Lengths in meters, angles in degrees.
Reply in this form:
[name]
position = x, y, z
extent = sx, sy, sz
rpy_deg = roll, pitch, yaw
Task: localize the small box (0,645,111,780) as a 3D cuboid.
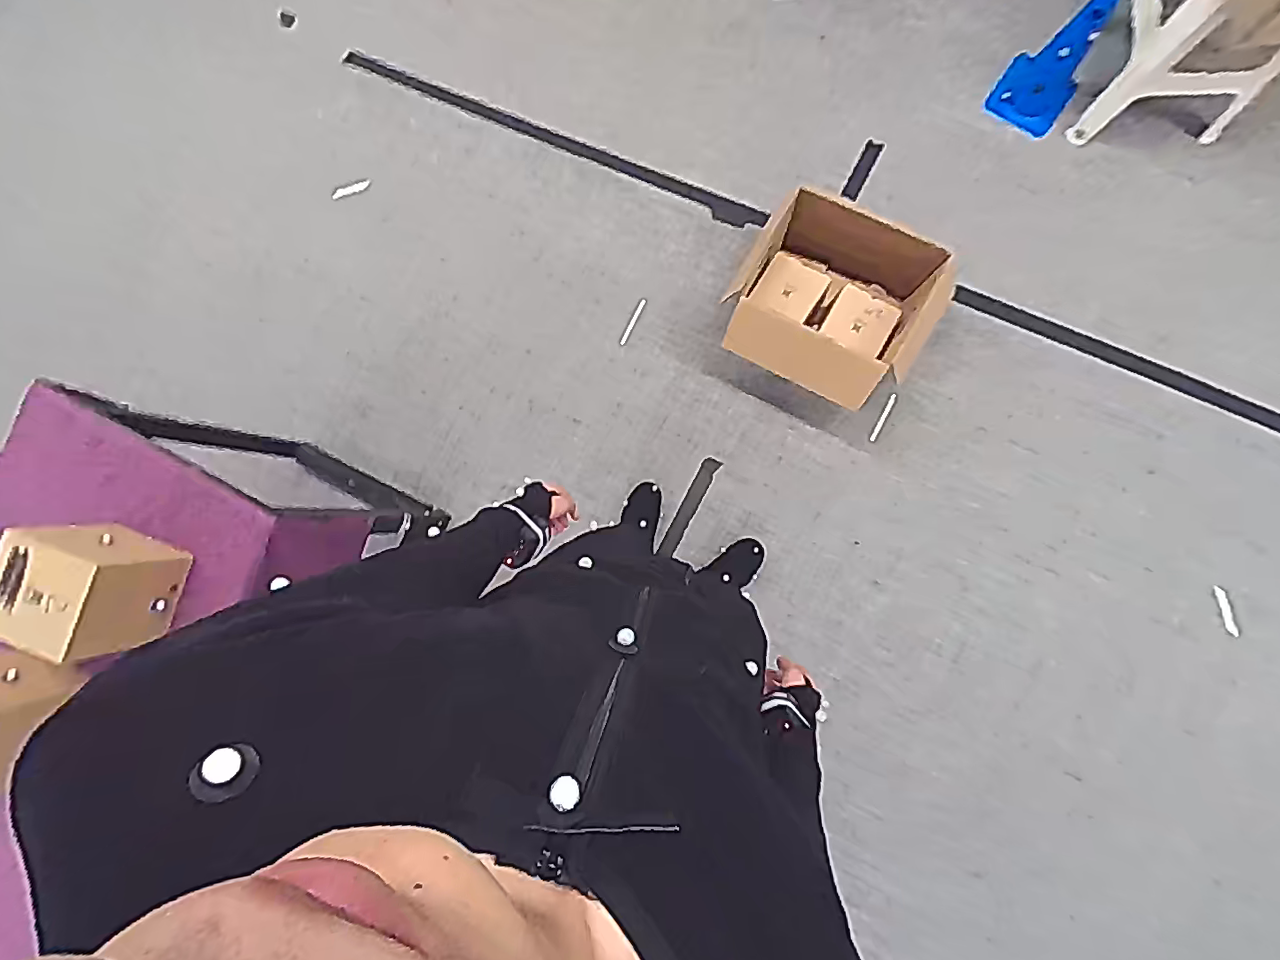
[small box]
position = -1.108, 0.407, 0.947
extent = 0.179, 0.176, 0.168
rpy_deg = 21, 90, 7
